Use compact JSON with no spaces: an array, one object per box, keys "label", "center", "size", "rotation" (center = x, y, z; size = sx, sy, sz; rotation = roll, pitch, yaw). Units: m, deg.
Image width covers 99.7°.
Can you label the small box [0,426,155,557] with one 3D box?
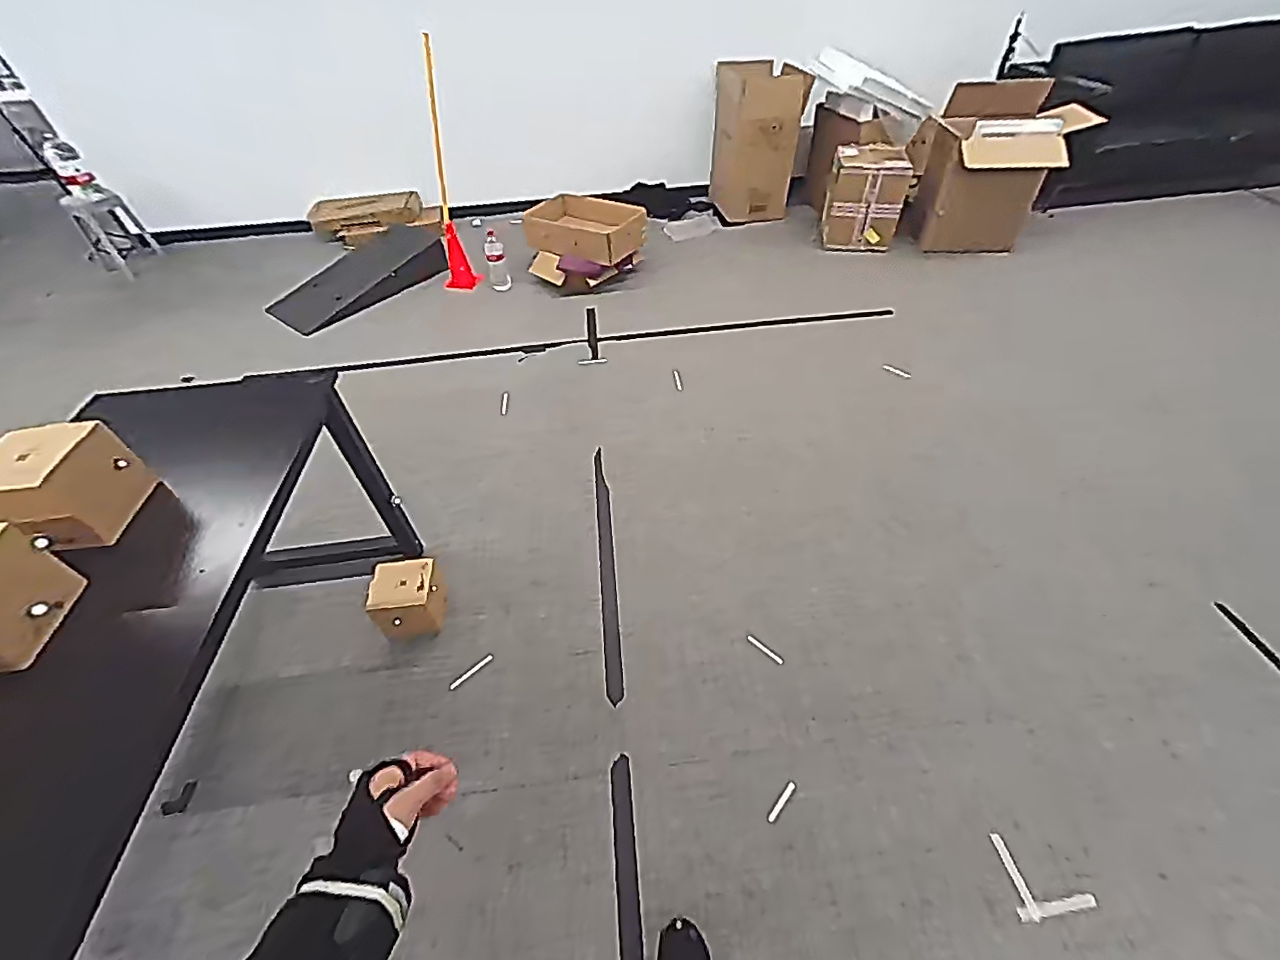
[{"label":"small box","center":[-1.079,0.024,1.017],"size":[0.168,0.176,0.179],"rotation":[-8,46,-2]}]

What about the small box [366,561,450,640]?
[{"label":"small box","center":[-0.706,0.375,1.665],"size":[0.179,0.176,0.168],"rotation":[-7,46,-3]}]

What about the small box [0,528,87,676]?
[{"label":"small box","center":[-1.053,0.199,0.842],"size":[0.179,0.176,0.168],"rotation":[-6,46,-3]}]
